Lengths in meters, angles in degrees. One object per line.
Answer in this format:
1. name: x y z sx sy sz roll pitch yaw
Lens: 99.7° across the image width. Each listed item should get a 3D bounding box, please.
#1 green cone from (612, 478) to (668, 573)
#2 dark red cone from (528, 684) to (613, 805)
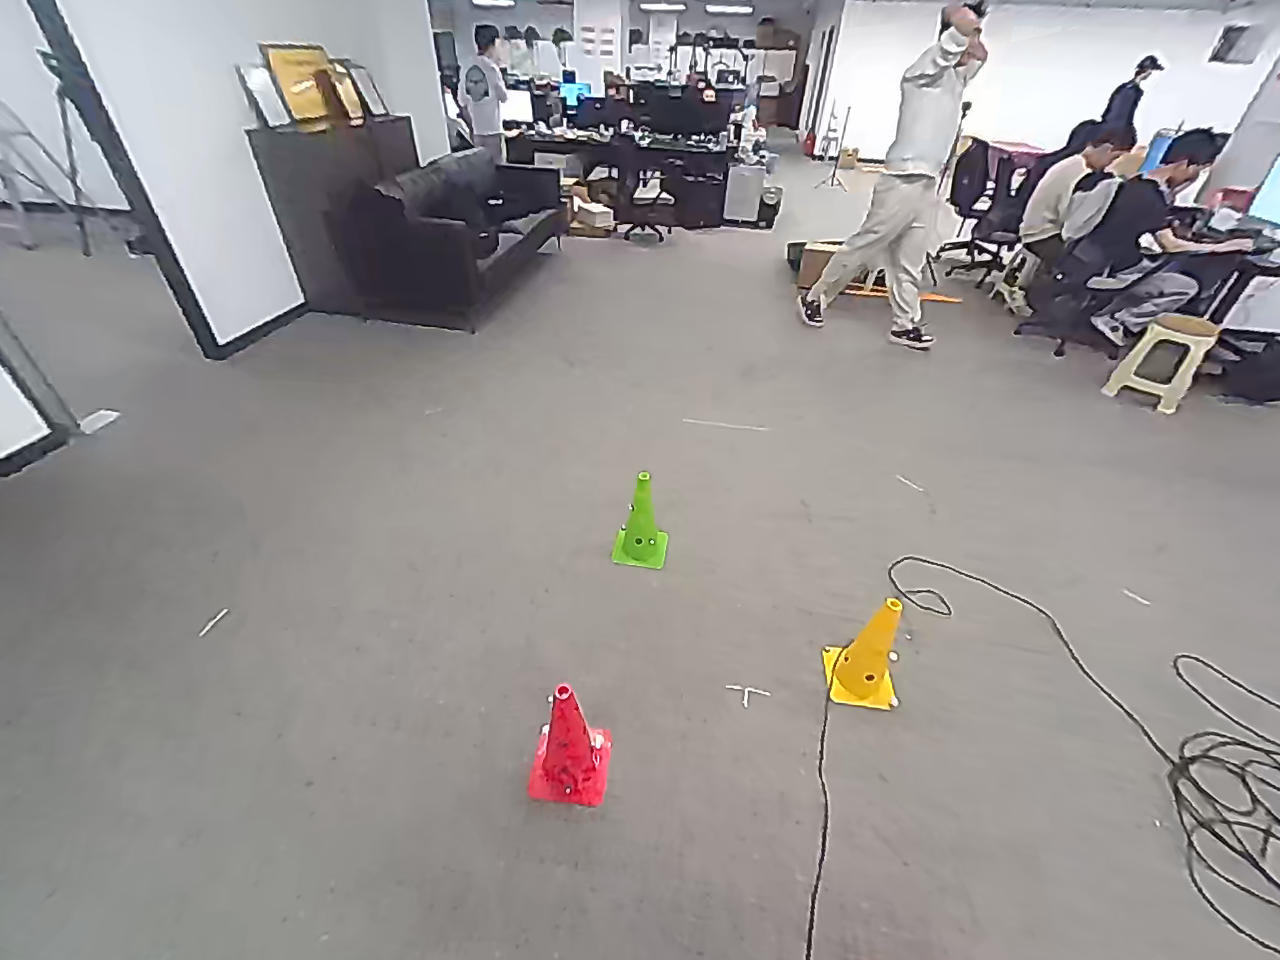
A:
1. green cone: 0.012 0.146 2.007 0.202 0.368 0.200 8 38 5
2. dark red cone: -0.174 0.623 1.332 0.202 0.394 0.201 4 39 3
